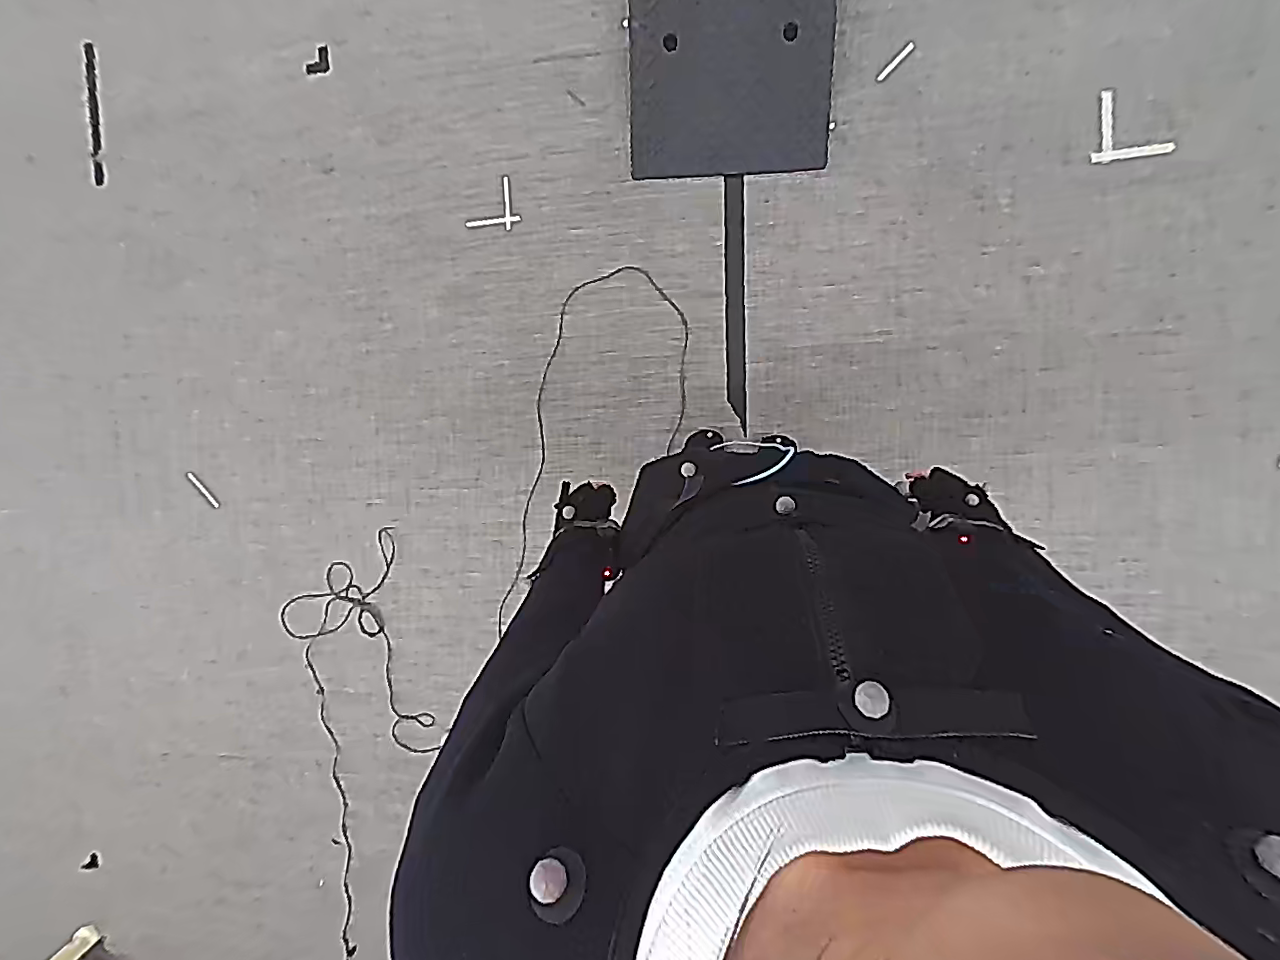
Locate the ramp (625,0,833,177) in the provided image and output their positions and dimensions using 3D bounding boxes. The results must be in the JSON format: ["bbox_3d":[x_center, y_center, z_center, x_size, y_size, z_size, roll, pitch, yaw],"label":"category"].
[{"bbox_3d":[0.205,-1.265,1.246,0.509,0.206,0.991,-1,95,6],"label":"ramp"}]
